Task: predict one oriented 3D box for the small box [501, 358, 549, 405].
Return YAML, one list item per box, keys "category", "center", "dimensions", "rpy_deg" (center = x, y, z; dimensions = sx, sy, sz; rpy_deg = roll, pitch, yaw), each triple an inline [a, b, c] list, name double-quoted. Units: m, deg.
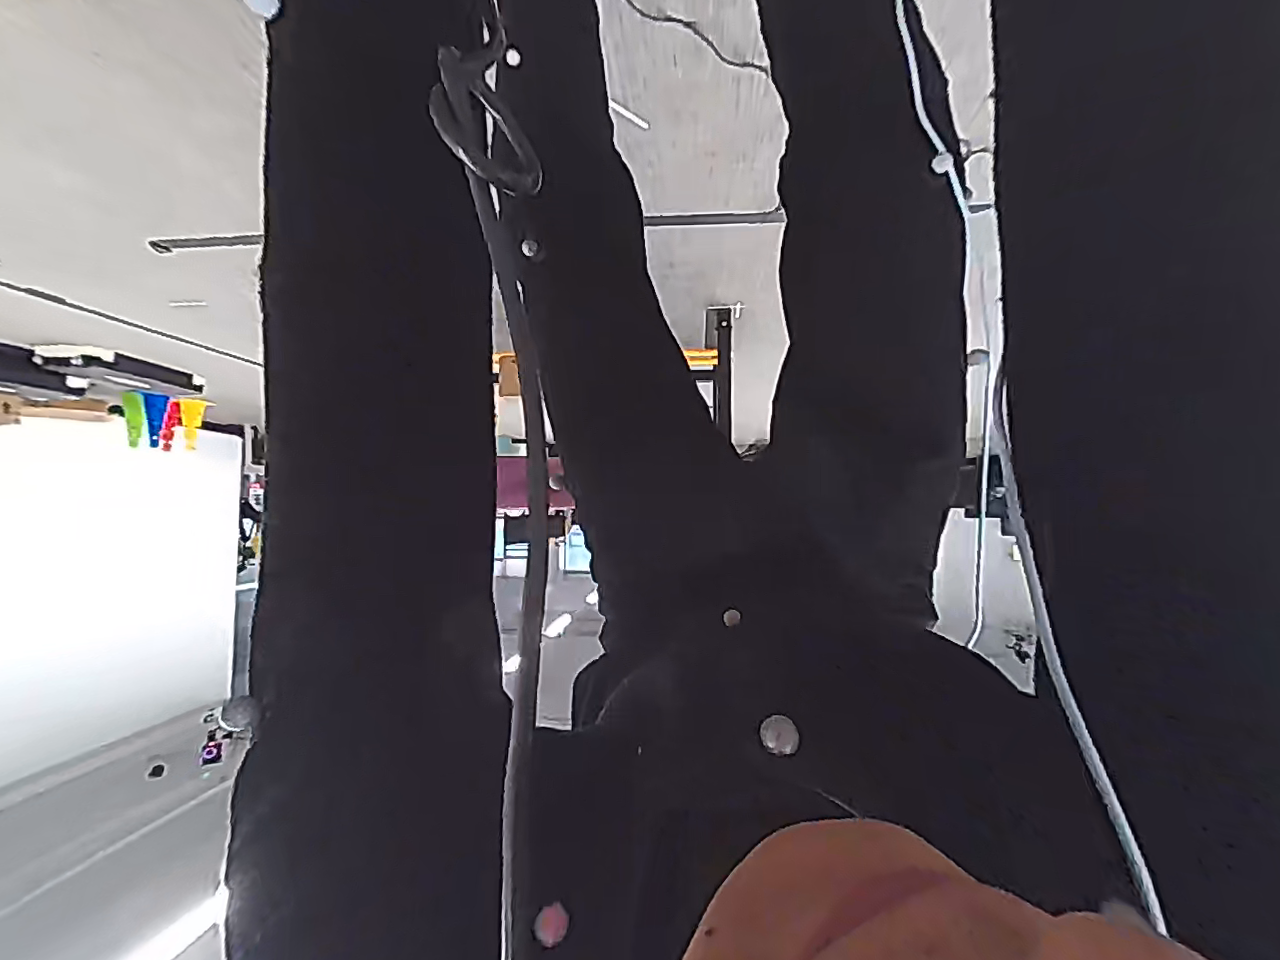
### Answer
- category: "small box"
  center: [-0.490, -0.422, 2.303]
  dimensions: [0.168, 0.176, 0.179]
  rpy_deg: [0, 178, 5]
